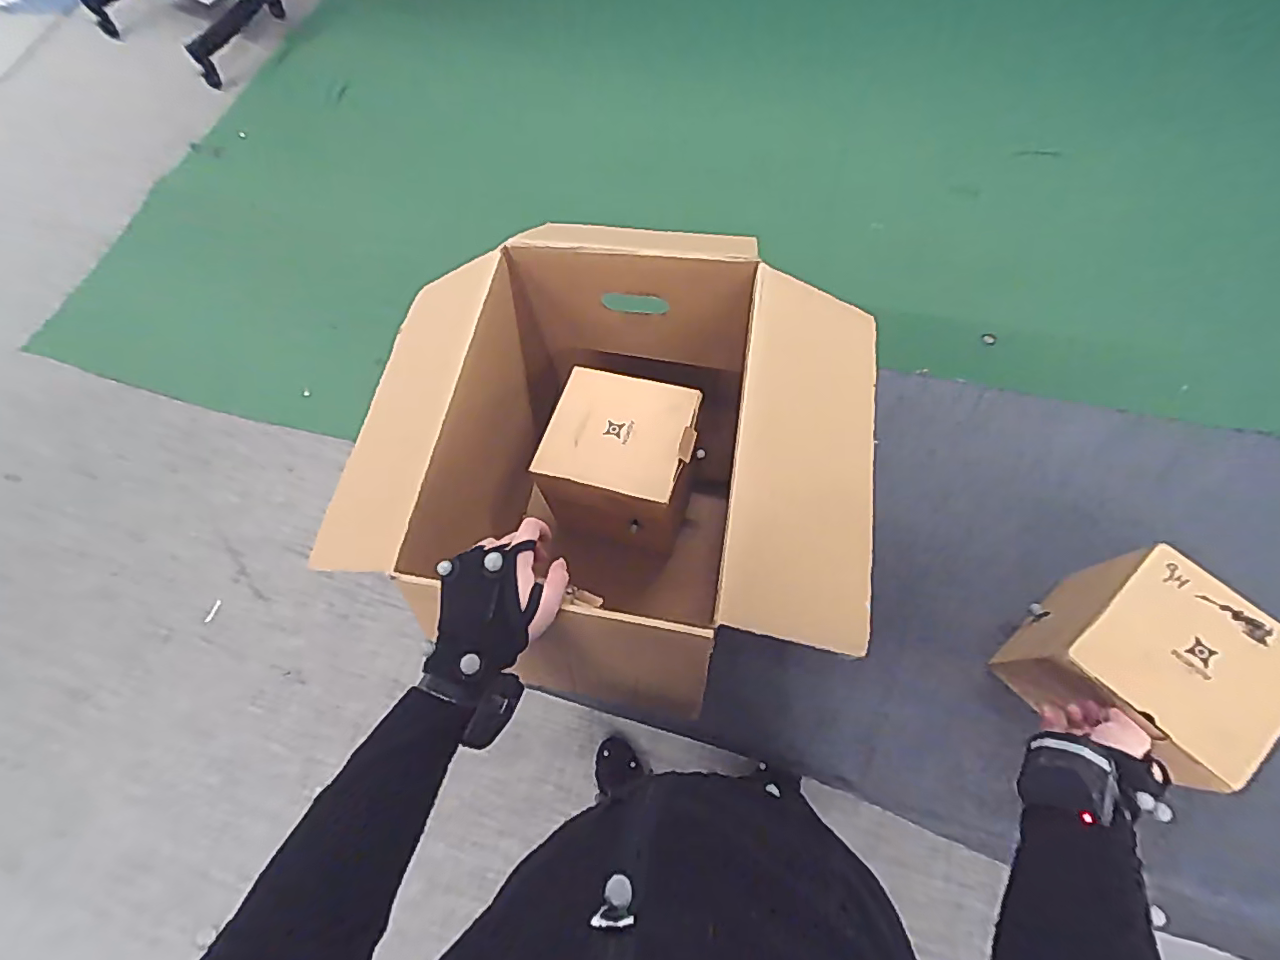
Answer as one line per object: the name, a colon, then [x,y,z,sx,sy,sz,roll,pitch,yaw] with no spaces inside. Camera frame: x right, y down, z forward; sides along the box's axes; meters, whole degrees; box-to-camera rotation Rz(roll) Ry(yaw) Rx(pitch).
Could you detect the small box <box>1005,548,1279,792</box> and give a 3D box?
small box: [0.560,0.212,0.611,0.179,0.176,0.168,-40,68,-10]
